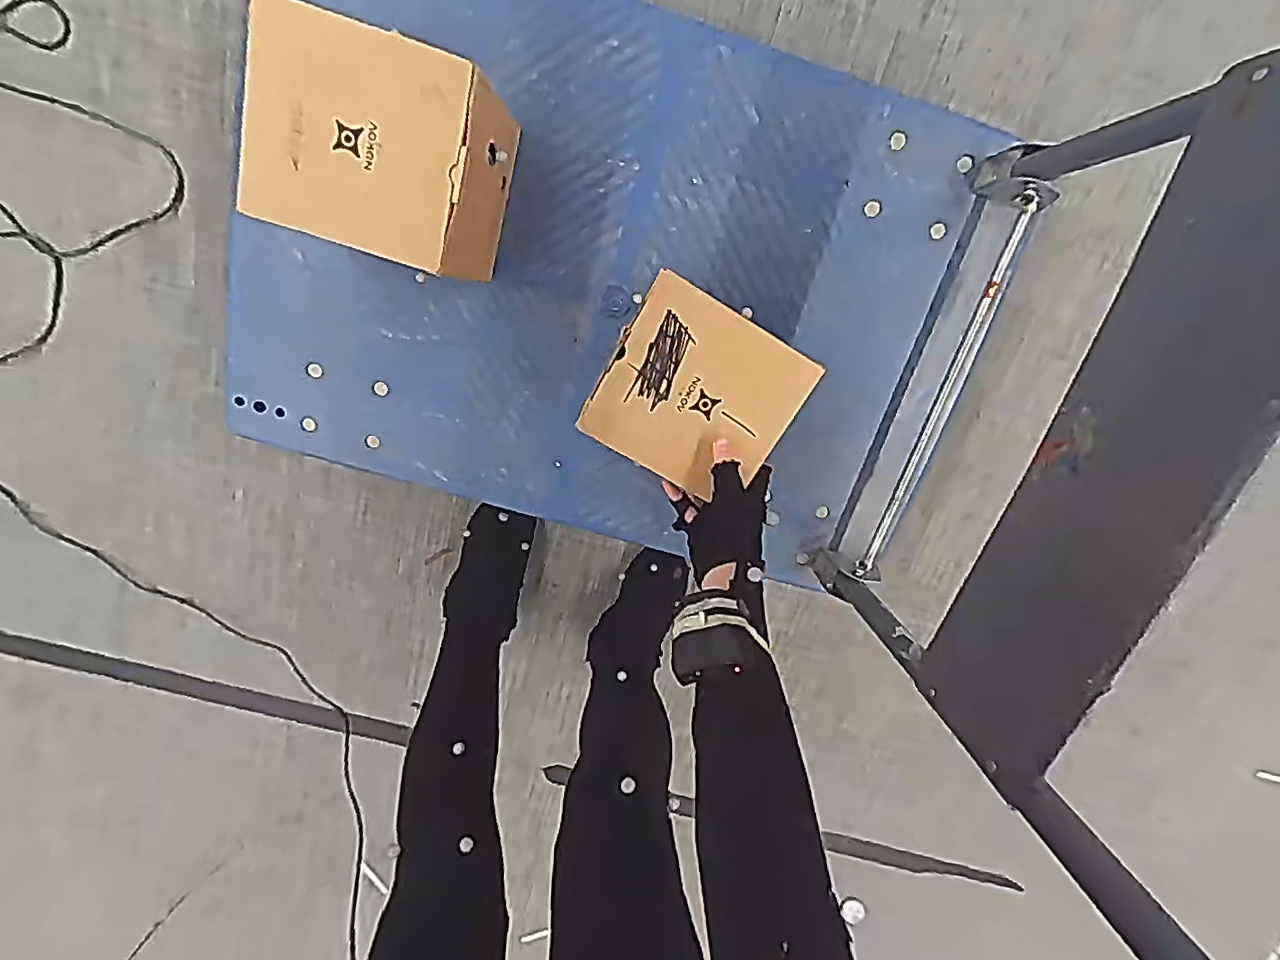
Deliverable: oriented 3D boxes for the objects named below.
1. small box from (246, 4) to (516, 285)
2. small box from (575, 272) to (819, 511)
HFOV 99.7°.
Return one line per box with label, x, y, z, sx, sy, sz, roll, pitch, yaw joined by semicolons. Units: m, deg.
small box;-0.232;-0.296;0.524;0.179;0.176;0.168;16;105;-4
small box;0.052;-0.097;0.583;0.179;0.176;0.168;30;105;-8
